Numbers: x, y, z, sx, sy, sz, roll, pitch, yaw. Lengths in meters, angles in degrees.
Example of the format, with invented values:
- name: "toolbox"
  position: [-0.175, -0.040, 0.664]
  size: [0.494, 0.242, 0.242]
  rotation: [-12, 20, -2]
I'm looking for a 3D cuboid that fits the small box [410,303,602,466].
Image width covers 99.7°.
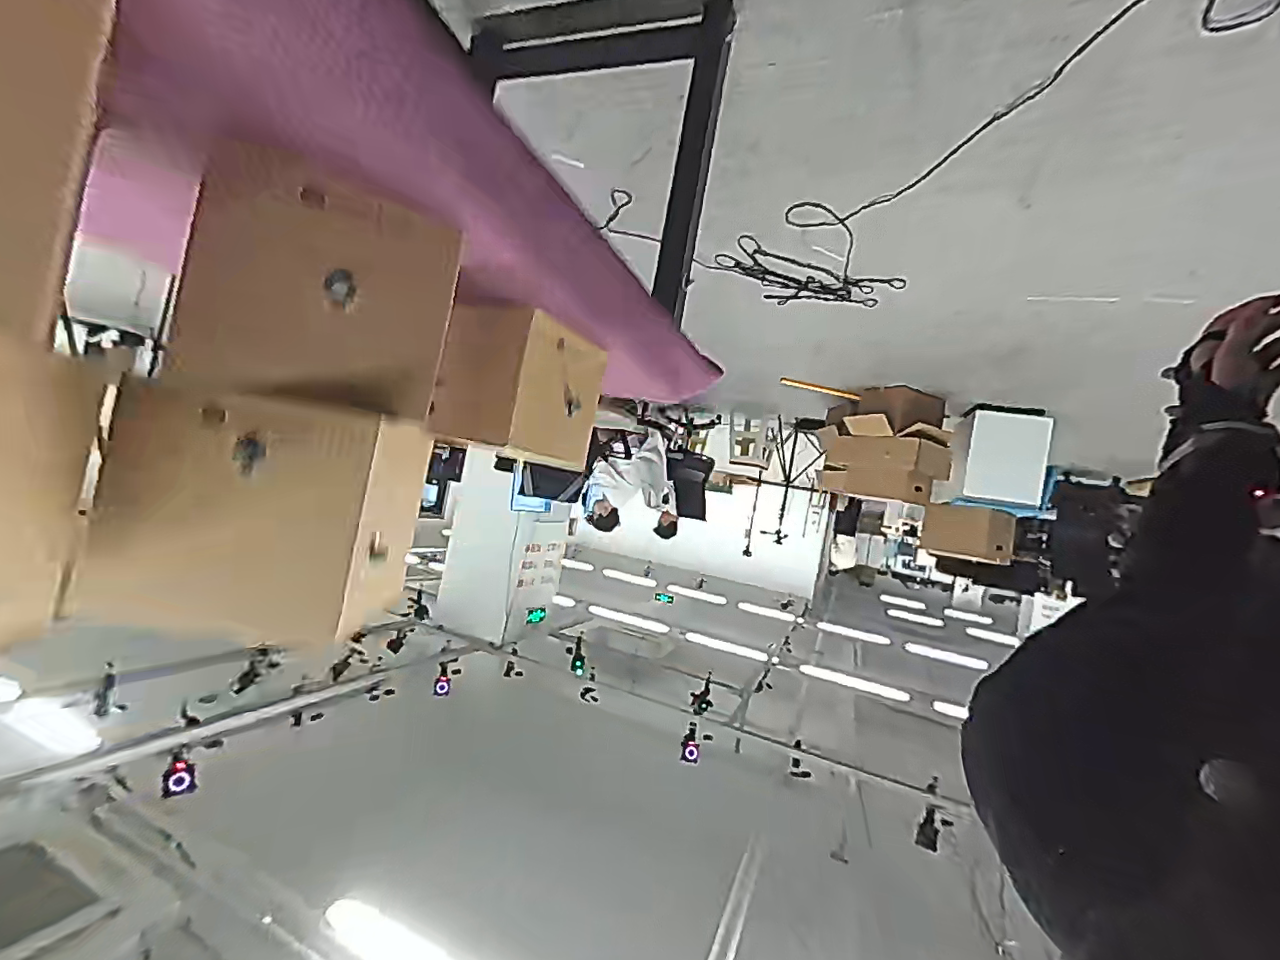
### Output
- name: "small box"
  position: [-0.164, -0.121, 0.707]
  size: [0.179, 0.176, 0.168]
  rotation: [11, 178, 28]

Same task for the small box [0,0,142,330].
- name: "small box"
  position: [-0.335, -0.172, 0.214]
  size: [0.168, 0.176, 0.179]
  rotation: [11, 179, 43]

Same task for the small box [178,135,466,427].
- name: "small box"
  position: [-0.259, -0.147, 0.462]
  size: [0.168, 0.176, 0.179]
  rotation: [13, 178, -31]

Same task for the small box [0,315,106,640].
- name: "small box"
  position: [-0.379, -0.014, 0.216]
  size: [0.168, 0.176, 0.179]
  rotation: [13, 178, -14]
